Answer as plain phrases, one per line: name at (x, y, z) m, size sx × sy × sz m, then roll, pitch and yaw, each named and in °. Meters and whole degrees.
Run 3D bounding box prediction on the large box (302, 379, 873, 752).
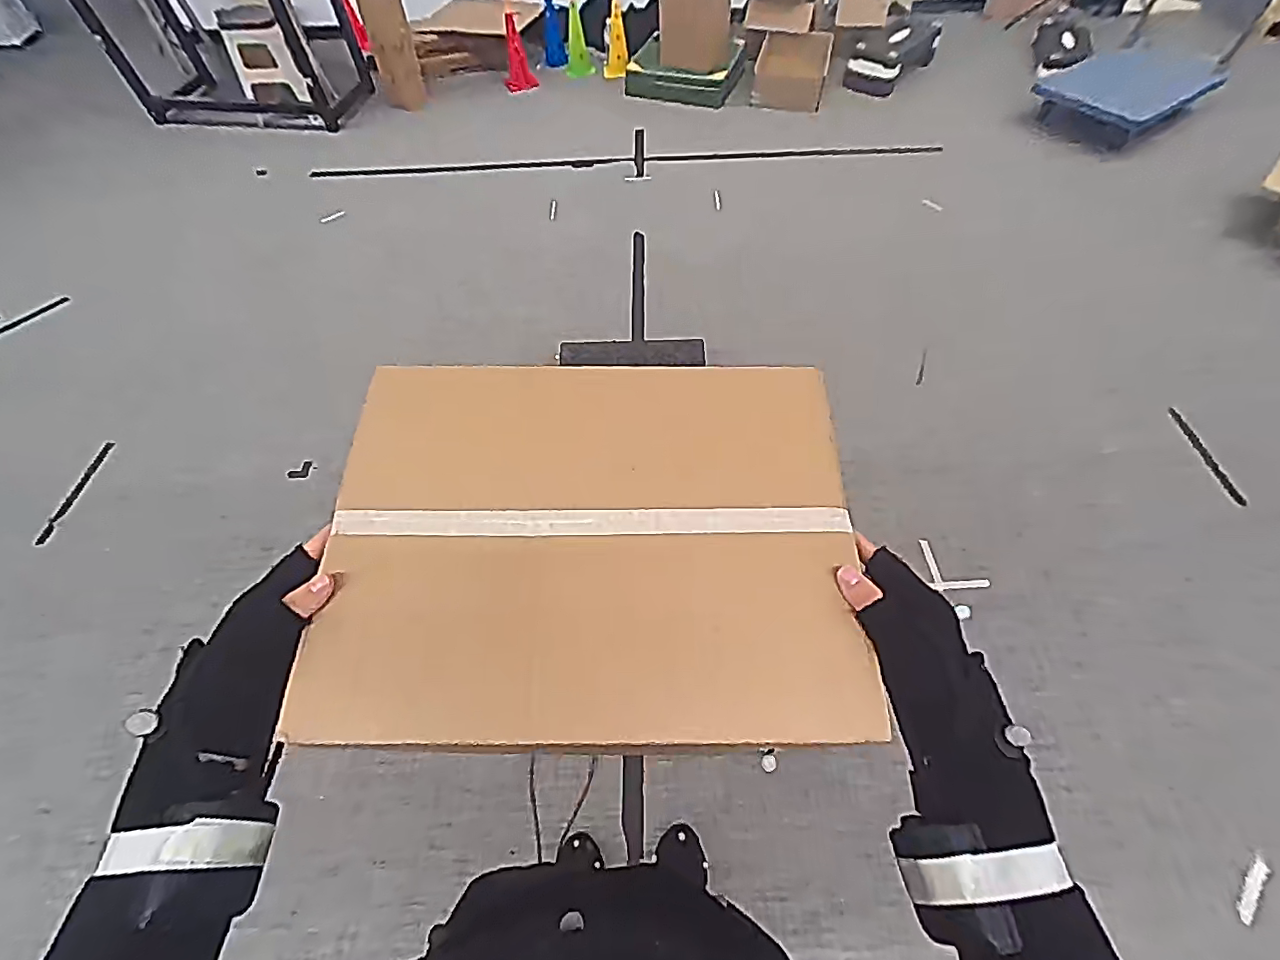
large box at (-0.036, 0.111, 0.571) m, size 0.408 × 0.320 × 0.320 m, roll 0°, pitch 62°, yaw 0°
